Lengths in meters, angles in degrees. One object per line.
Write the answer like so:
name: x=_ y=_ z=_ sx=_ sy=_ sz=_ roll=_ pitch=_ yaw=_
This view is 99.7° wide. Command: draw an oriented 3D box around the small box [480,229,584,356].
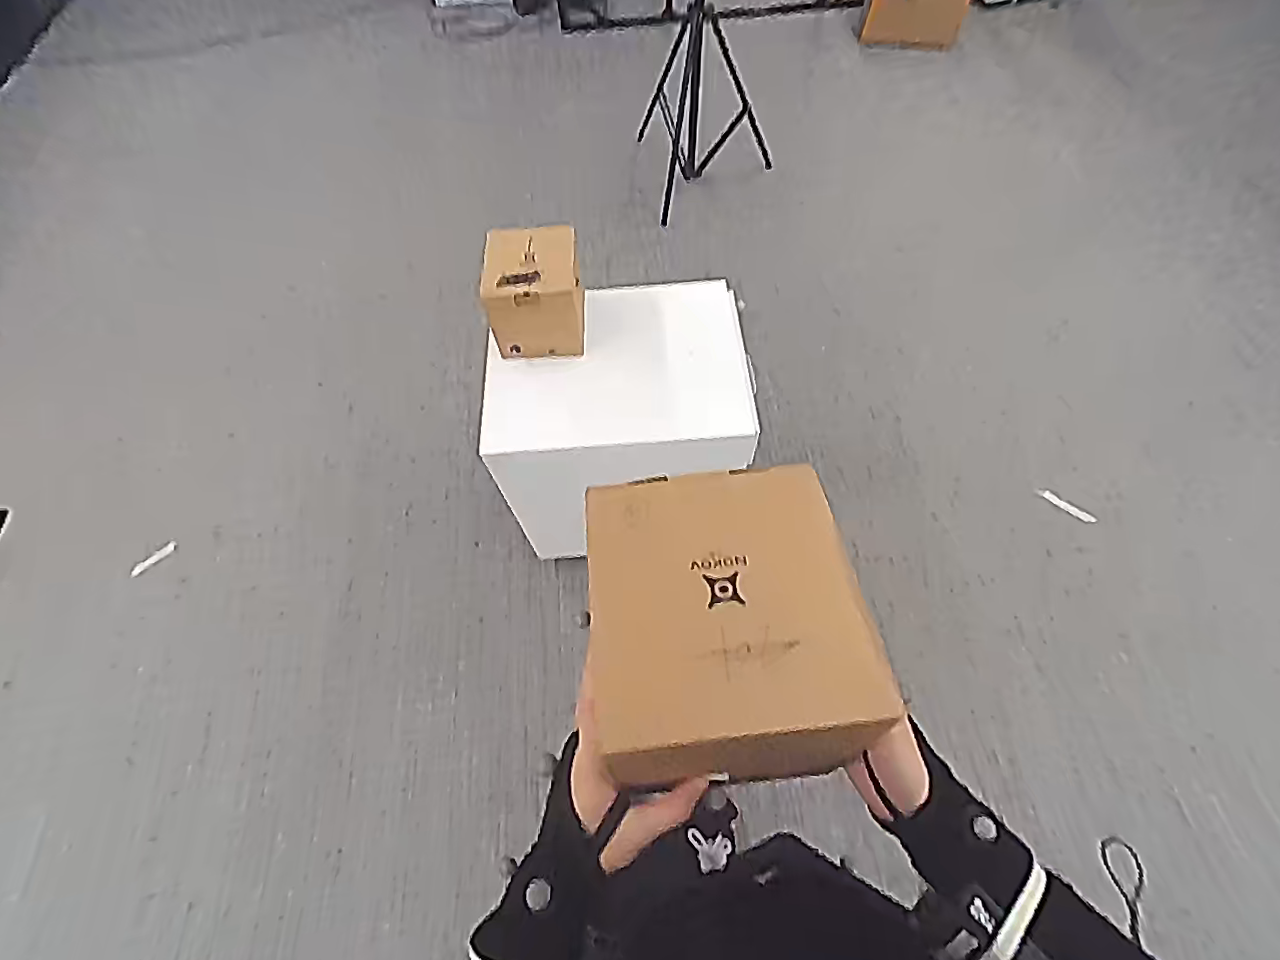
small box: x=-0.199 y=-0.354 z=1.048 sx=0.168 sy=0.176 sz=0.179 roll=-3 pitch=62 yaw=0

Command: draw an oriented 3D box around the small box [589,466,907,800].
small box: x=0.055 y=0.114 z=0.397 sx=0.168 sy=0.176 sz=0.179 roll=-7 pitch=52 yaw=-2
